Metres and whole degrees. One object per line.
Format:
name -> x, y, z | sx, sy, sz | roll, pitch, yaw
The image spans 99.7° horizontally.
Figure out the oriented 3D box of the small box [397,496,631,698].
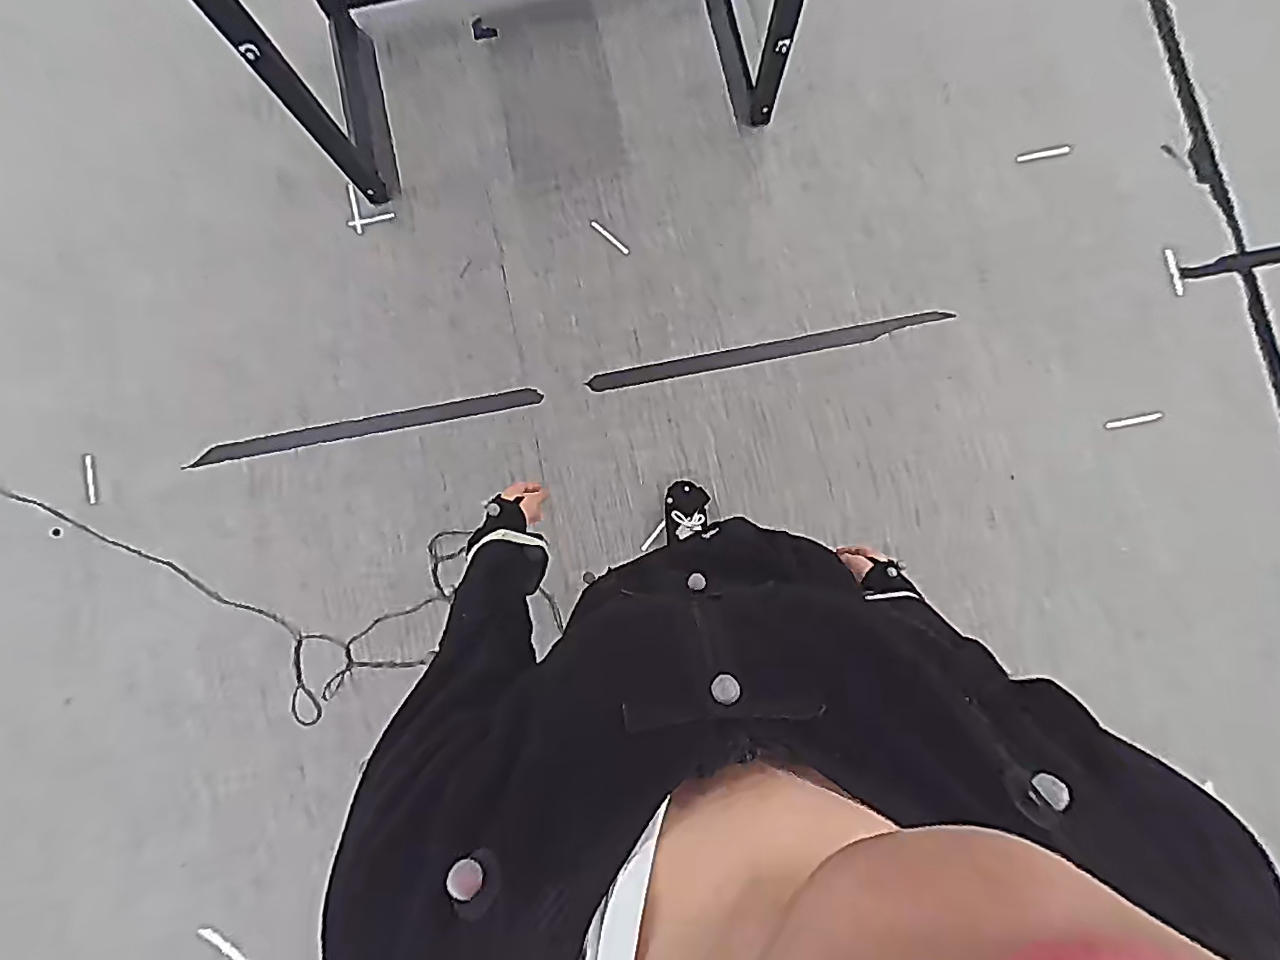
small box -> -0.145, 0.134, 0.628 | 0.176, 0.168, 0.179 | -30, 77, 26
